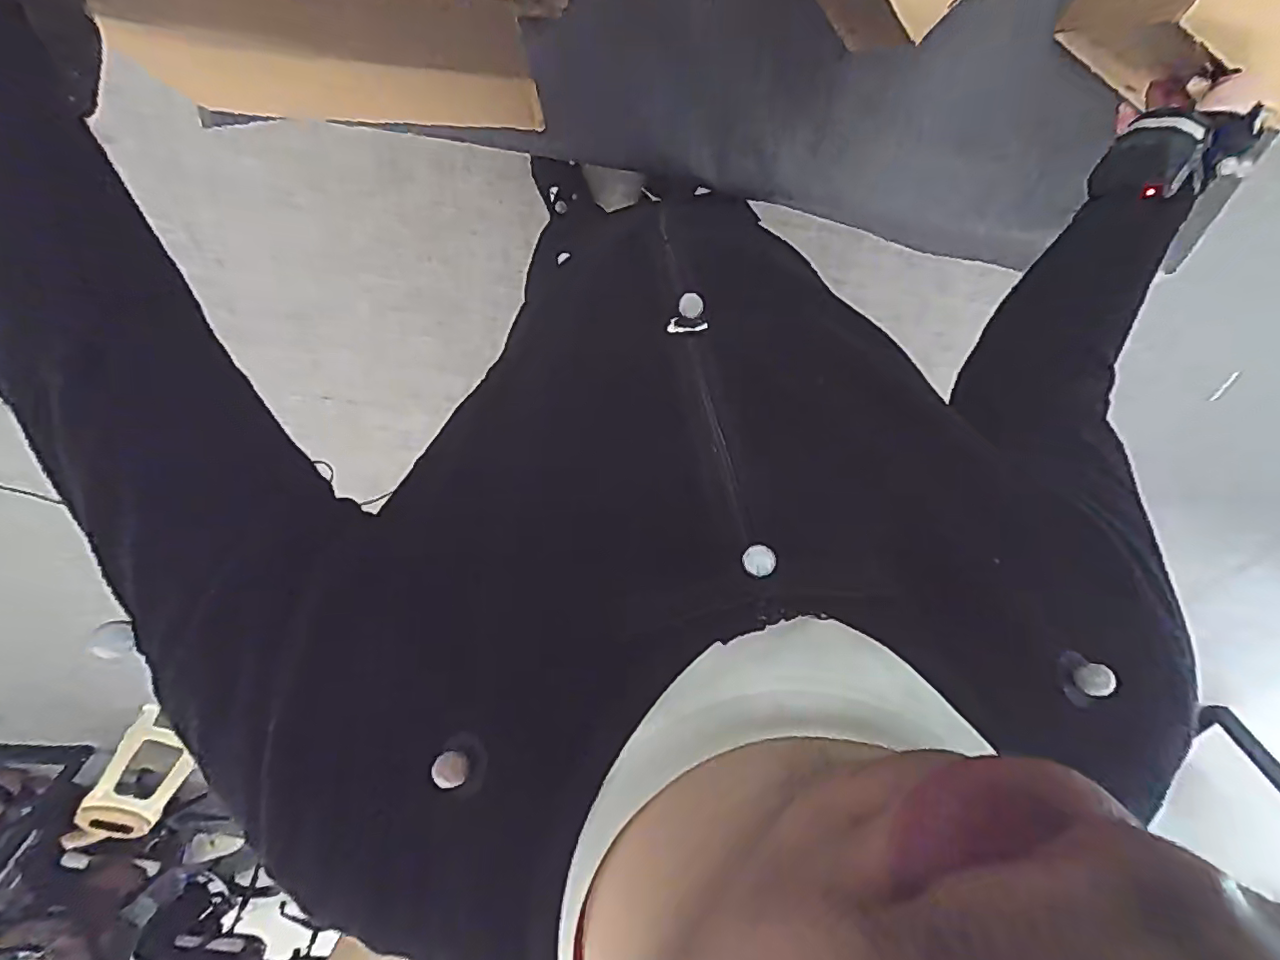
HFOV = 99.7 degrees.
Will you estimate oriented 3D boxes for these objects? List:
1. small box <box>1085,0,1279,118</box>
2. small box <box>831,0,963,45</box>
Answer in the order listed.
[{"bbox_3d":[0.551,-0.457,0.477,0.168,0.176,0.179,21,124,-16],"label":"small box"},{"bbox_3d":[0.226,-0.507,0.441,0.179,0.176,0.168,36,120,-25],"label":"small box"}]
